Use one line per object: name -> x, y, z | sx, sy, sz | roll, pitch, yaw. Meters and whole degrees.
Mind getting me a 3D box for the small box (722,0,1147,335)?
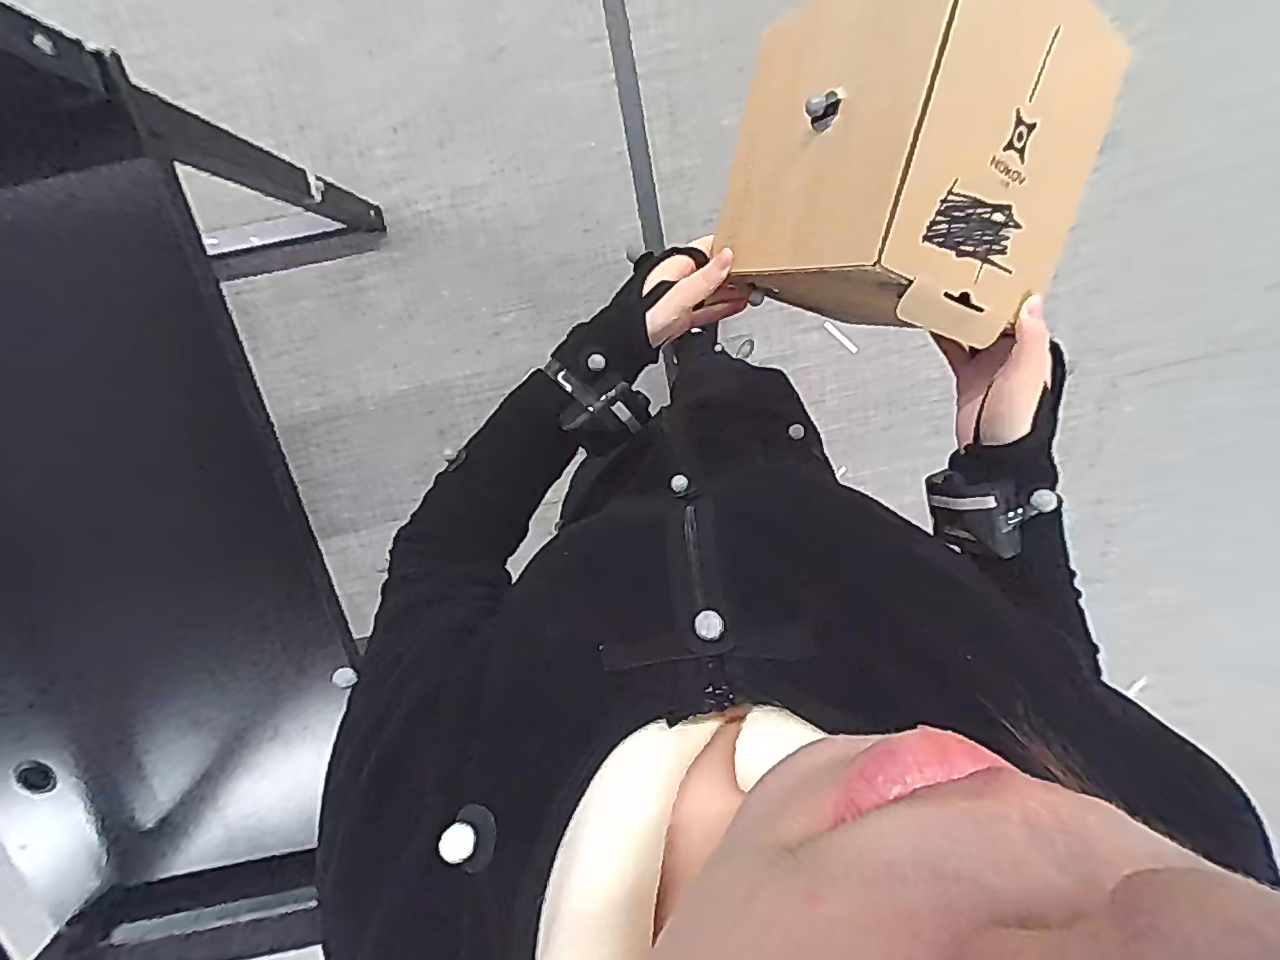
small box -> 0.179, -0.209, 0.370 | 0.168, 0.176, 0.179 | 6, 103, -30
